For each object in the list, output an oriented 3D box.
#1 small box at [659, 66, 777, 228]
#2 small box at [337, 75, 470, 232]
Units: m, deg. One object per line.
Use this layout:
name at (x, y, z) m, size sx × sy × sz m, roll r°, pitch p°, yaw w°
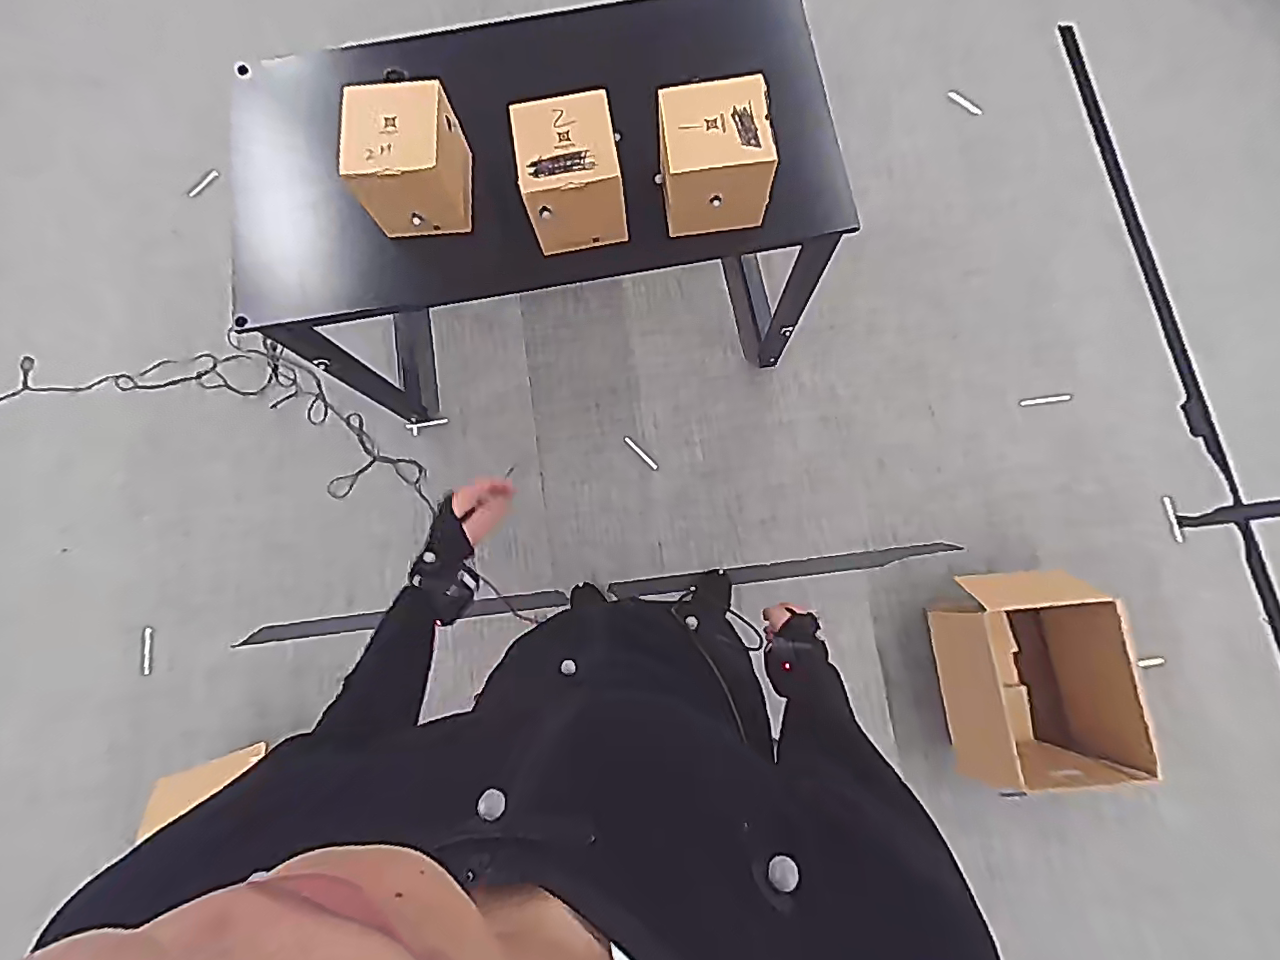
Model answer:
small box at (0.128, -0.572, 0.948) m, size 0.179 × 0.176 × 0.168 m, roll -7°, pitch 79°, yaw 3°
small box at (-0.415, -0.580, 0.975) m, size 0.168 × 0.176 × 0.179 m, roll -3°, pitch 80°, yaw 2°
